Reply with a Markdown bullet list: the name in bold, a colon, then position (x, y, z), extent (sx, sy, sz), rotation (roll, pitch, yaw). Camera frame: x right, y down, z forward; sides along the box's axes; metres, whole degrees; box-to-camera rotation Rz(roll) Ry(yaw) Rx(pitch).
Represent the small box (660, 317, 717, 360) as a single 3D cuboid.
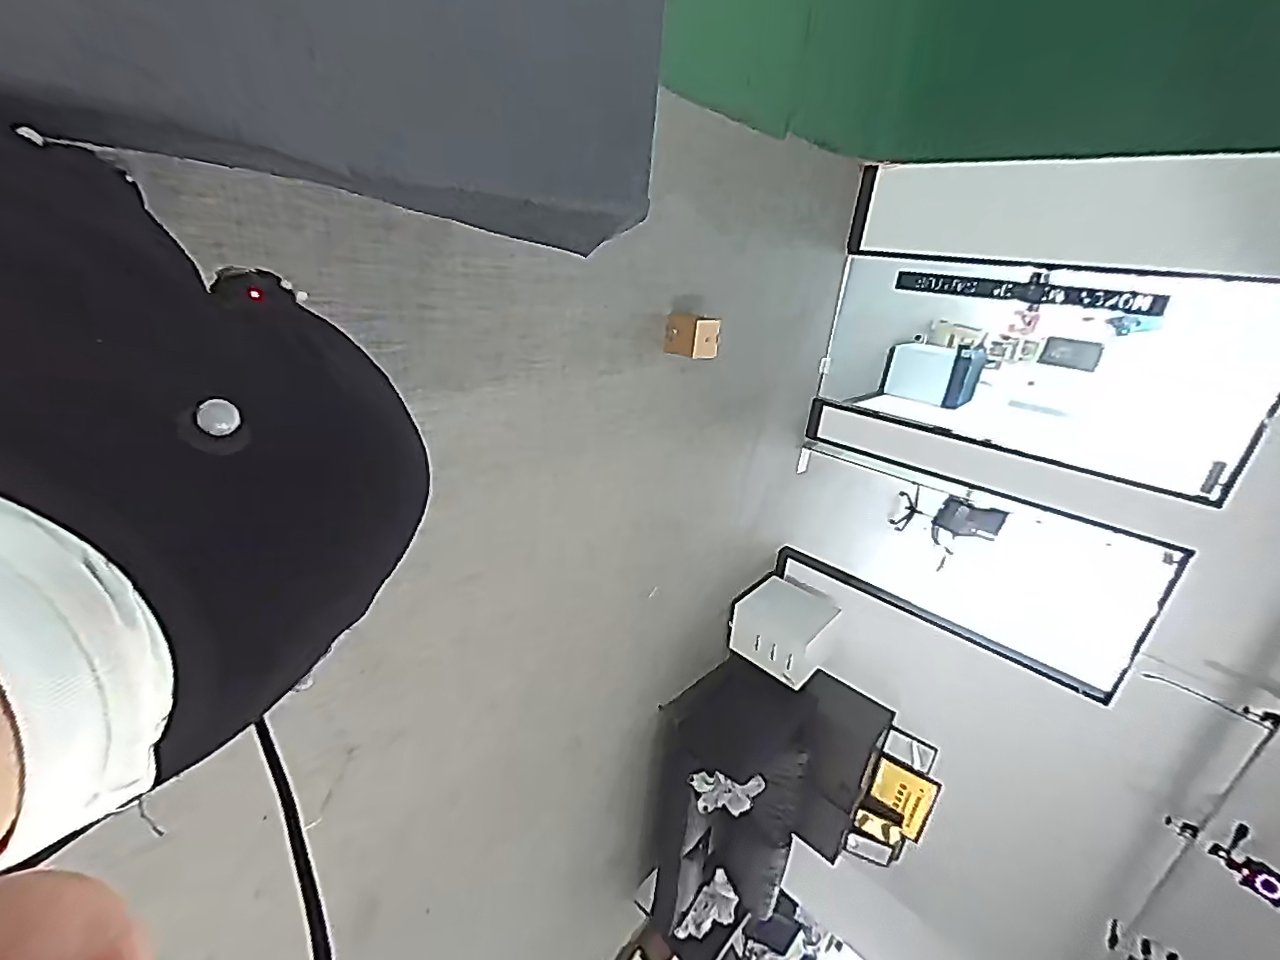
- **small box**: position (0.213, -0.627, 2.395), extent (0.179, 0.176, 0.168), rotation (-14, 118, -46)
